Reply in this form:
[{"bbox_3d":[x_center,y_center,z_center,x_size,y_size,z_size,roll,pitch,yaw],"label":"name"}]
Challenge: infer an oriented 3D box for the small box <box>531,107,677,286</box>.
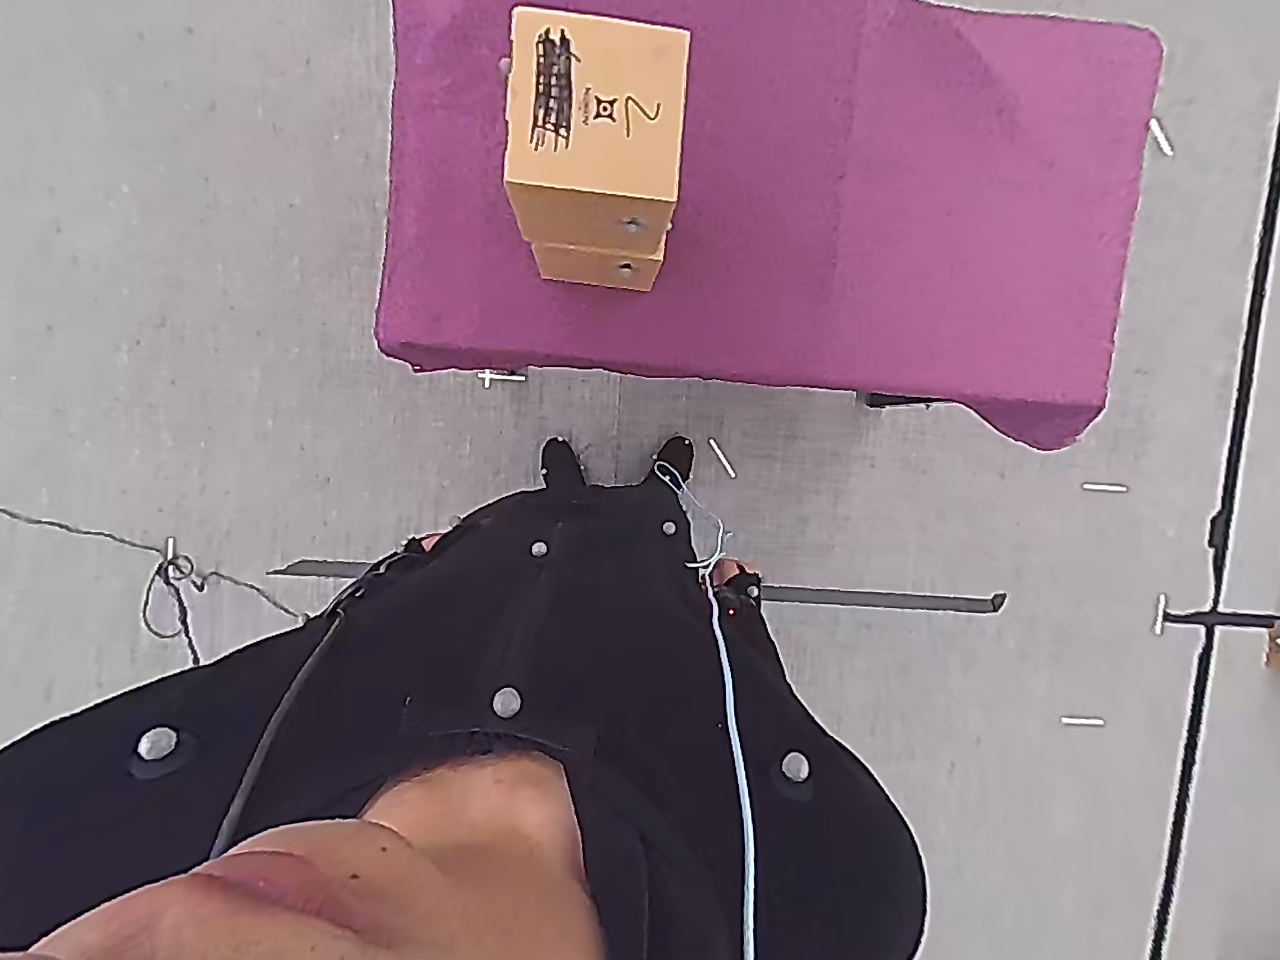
[{"bbox_3d":[-0.053,-0.387,0.772,0.179,0.176,0.168,6,95,-5],"label":"small box"}]
